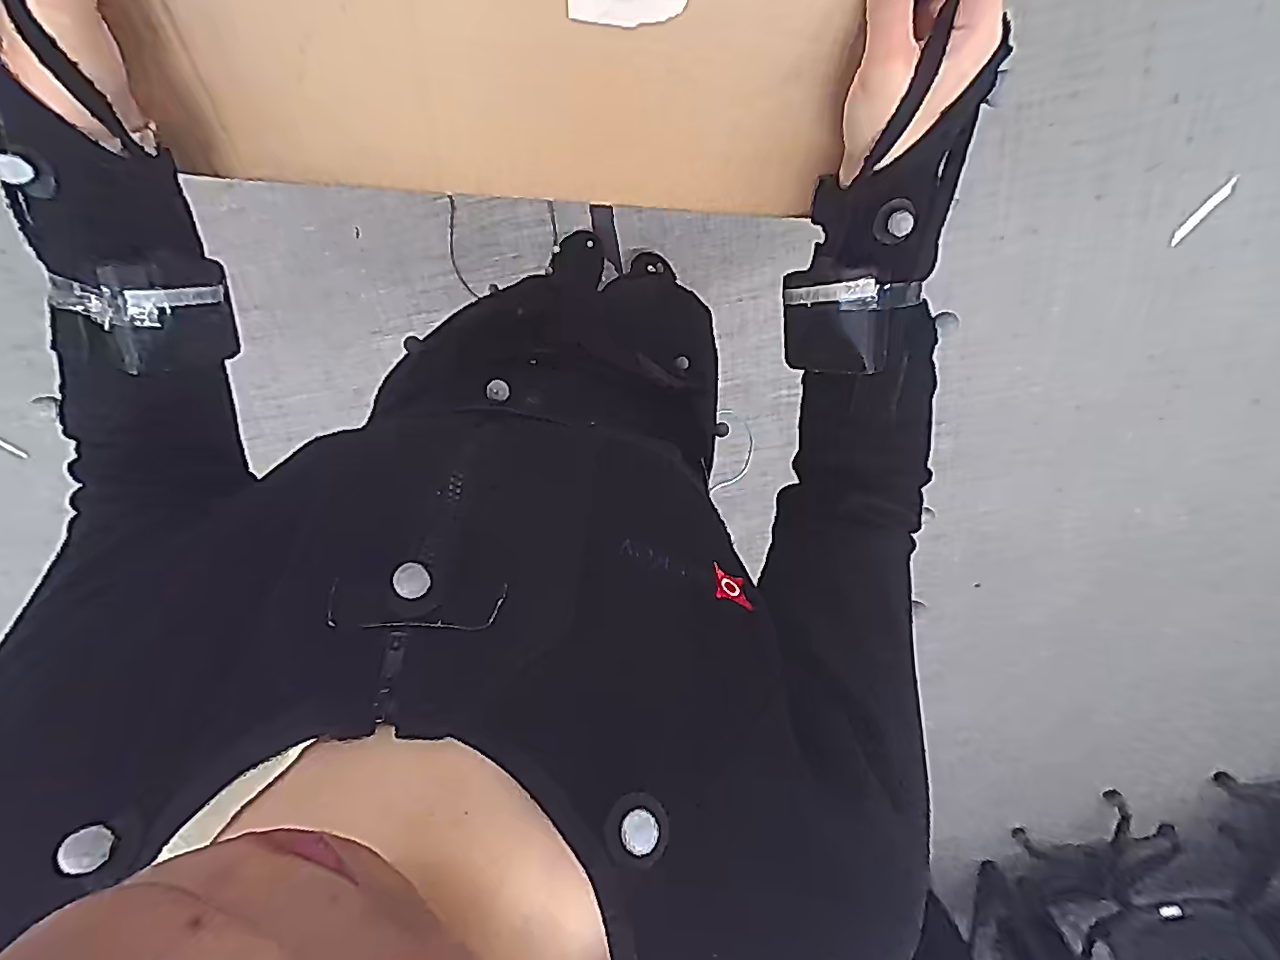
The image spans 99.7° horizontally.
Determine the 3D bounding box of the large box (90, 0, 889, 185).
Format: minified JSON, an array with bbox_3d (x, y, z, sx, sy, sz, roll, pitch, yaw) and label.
[{"bbox_3d":[-0.073,-0.400,0.306,0.408,0.320,0.320,1,143,-3],"label":"large box"}]
